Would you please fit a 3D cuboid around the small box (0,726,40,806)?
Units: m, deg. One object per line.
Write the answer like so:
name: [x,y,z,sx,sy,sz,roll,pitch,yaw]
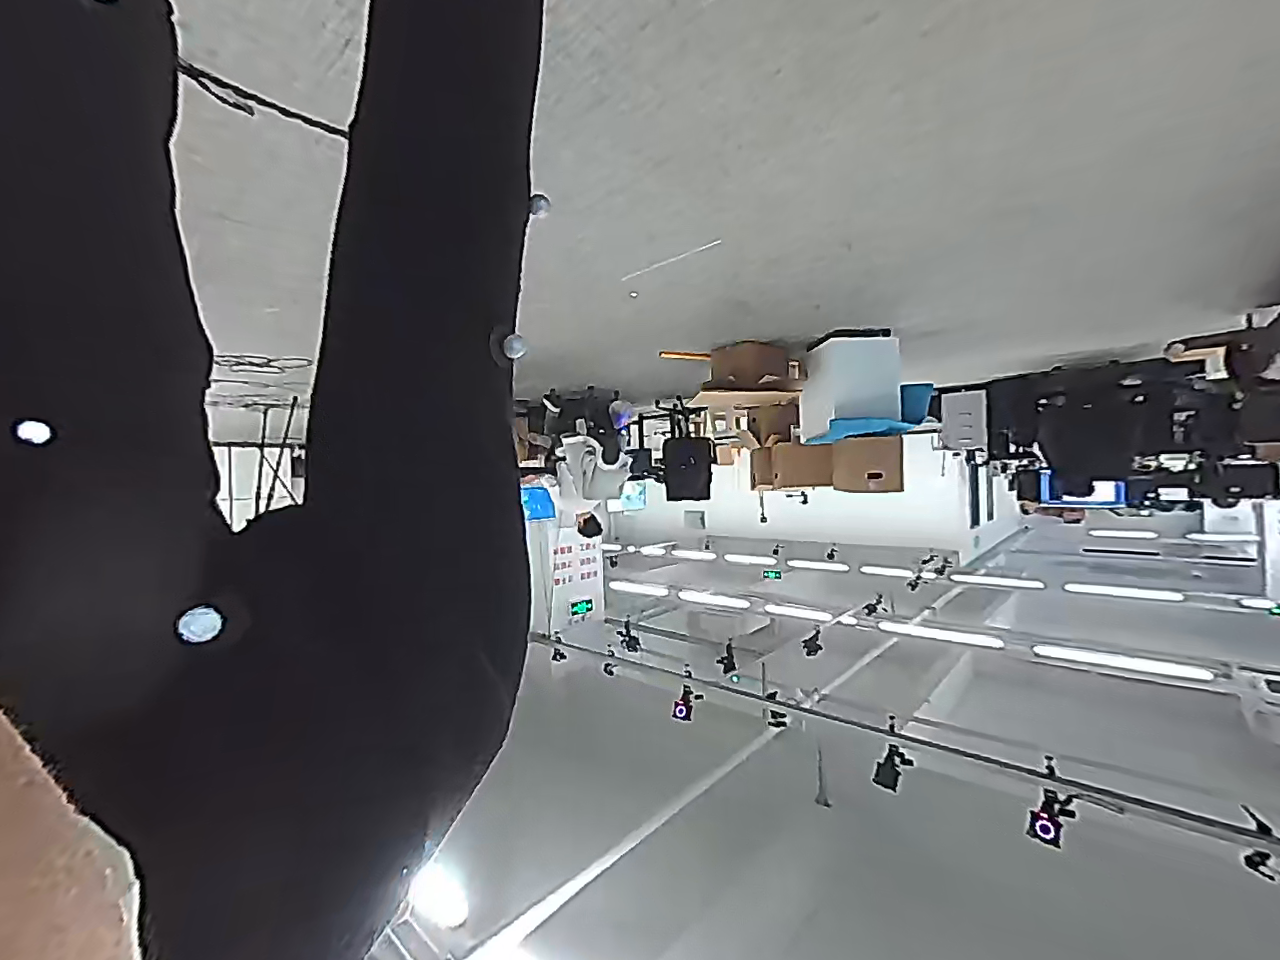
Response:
small box: [-1.860,0.826,1.546,0.179,0.176,0.168,-3,-179,-43]
